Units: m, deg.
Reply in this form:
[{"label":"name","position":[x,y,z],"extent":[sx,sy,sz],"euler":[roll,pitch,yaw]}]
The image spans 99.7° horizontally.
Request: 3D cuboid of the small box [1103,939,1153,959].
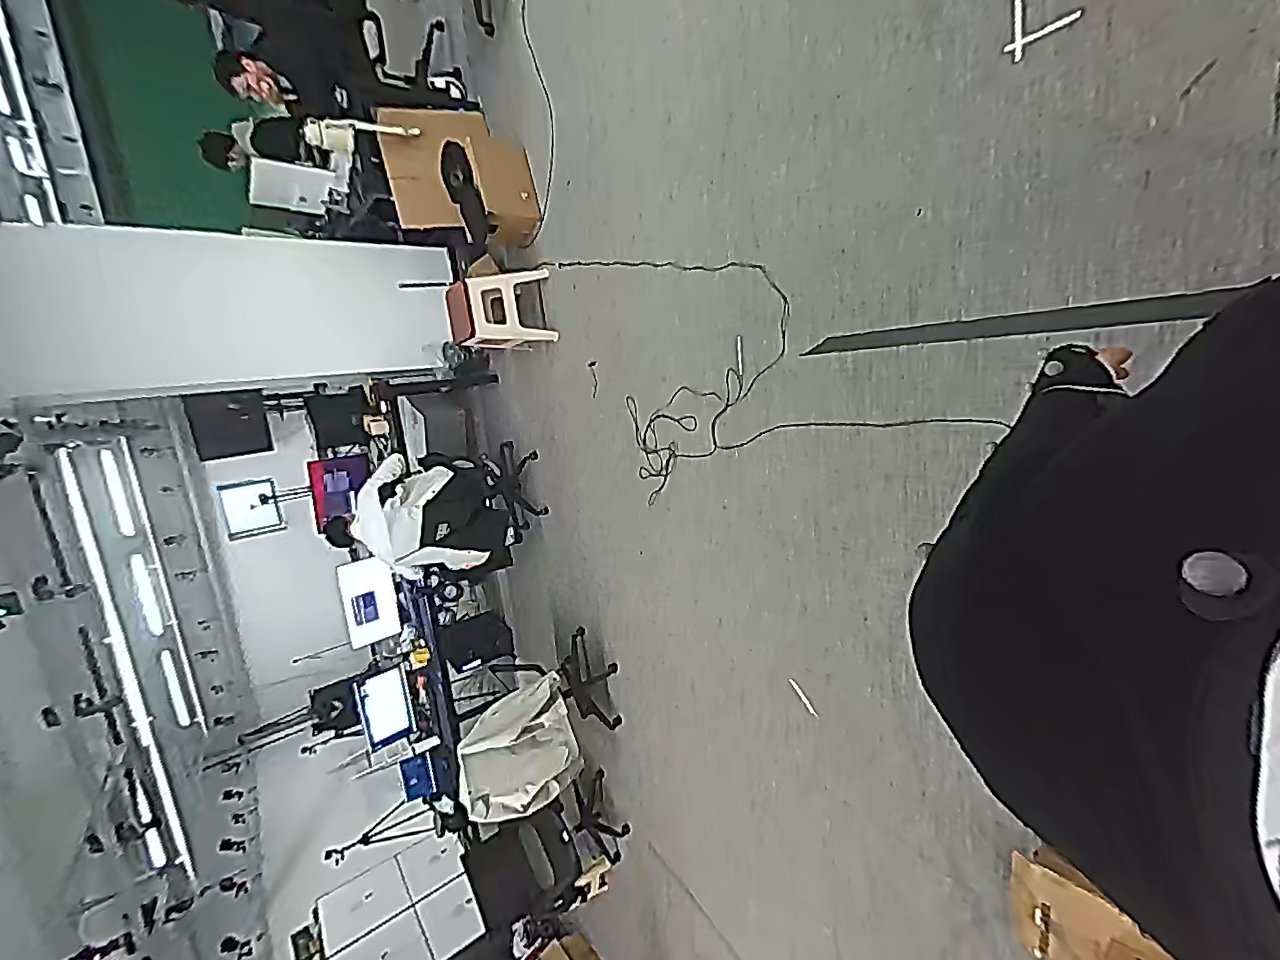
[{"label":"small box","position":[1.134,1.197,1.205],"extent":[0.168,0.176,0.179],"euler":[5,105,54]}]
